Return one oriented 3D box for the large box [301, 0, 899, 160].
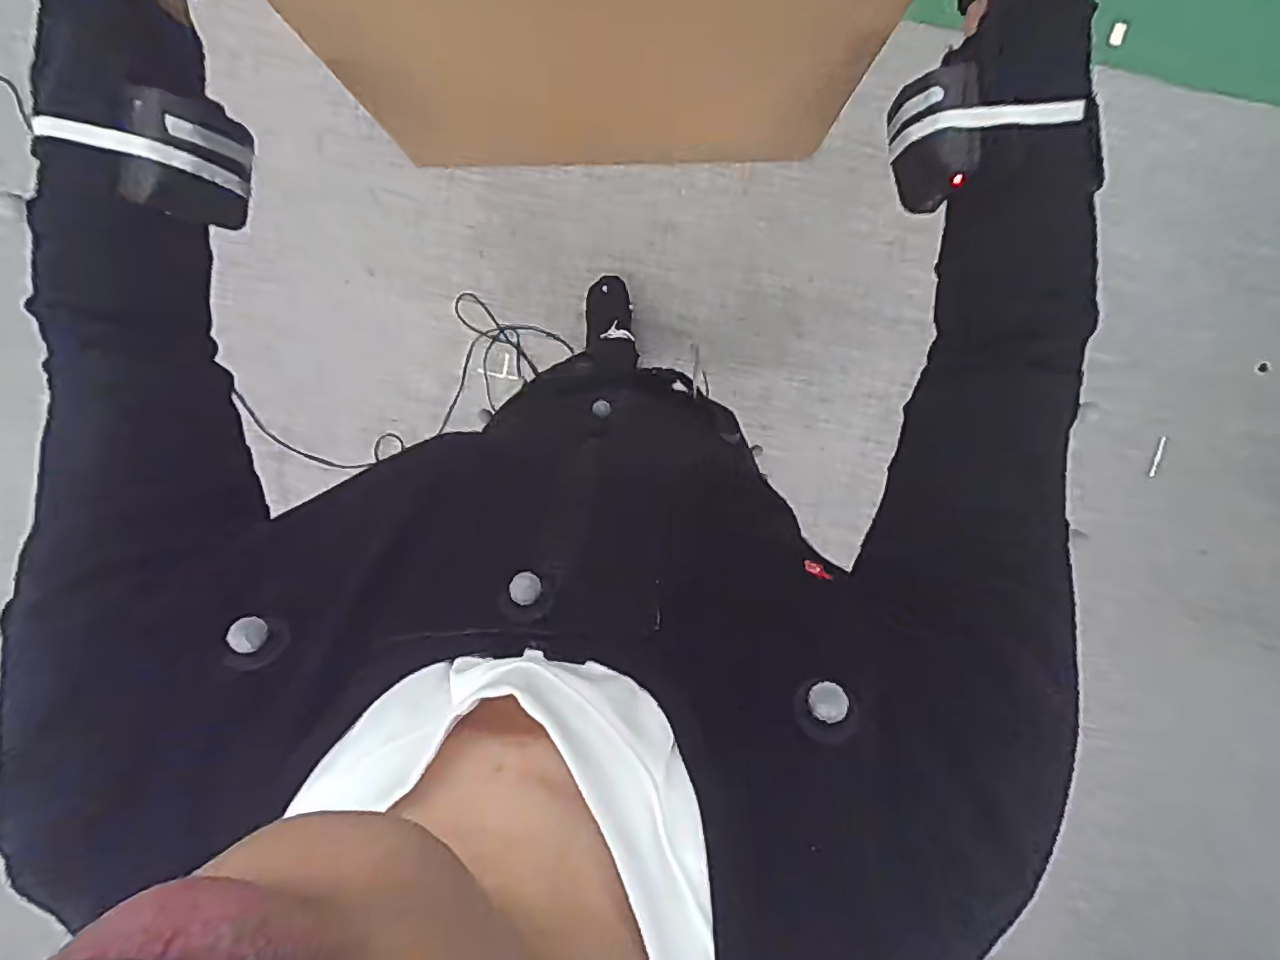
[{"bbox_3d":[-0.028,-0.465,0.387,0.408,0.320,0.320,-1,97,-1],"label":"large box"}]
